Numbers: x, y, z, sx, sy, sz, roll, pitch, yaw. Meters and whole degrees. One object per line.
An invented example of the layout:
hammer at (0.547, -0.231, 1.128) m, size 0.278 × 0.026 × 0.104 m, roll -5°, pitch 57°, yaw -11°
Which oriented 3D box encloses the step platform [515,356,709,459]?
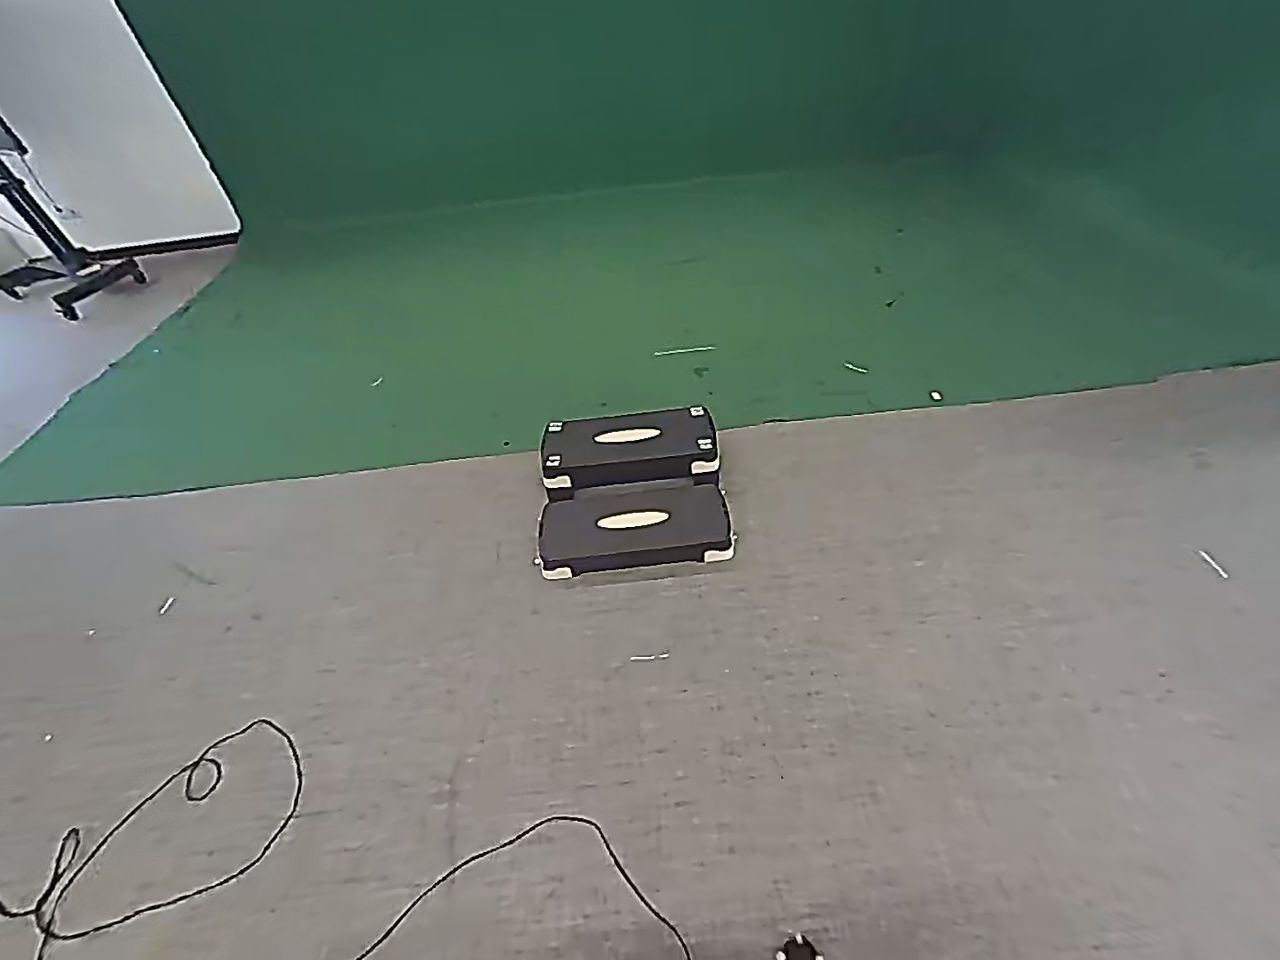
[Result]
step platform at (-0.095, -0.266, 1.981) m, size 0.684 × 0.204 × 0.286 m, roll -7°, pitch 45°, yaw 1°
